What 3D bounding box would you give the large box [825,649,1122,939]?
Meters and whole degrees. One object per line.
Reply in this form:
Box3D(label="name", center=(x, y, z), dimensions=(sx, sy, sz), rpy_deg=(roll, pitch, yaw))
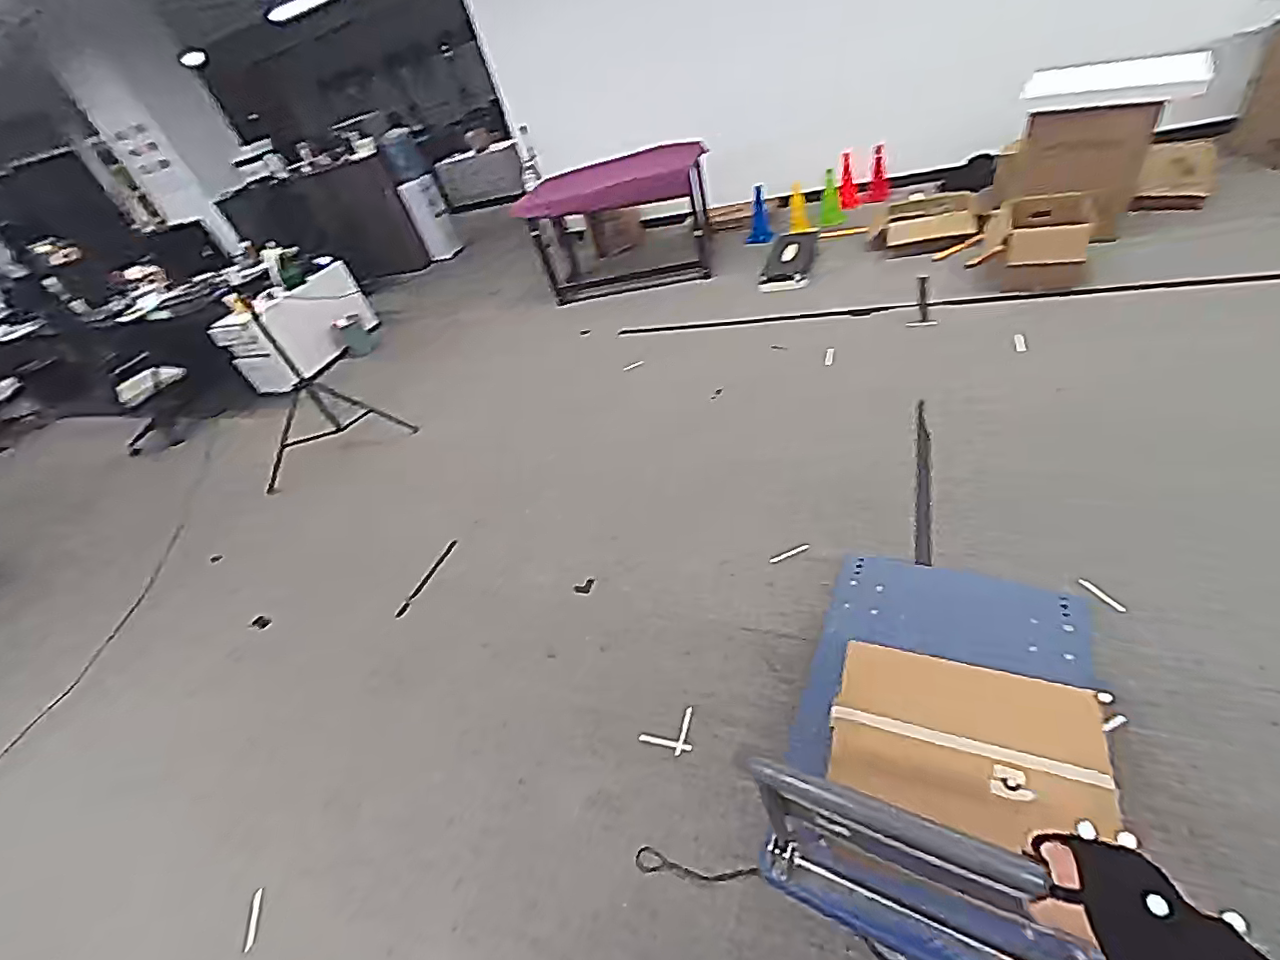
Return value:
Box3D(label="large box", center=(0.577, 0.572, 1.020), dimensions=(0.408, 0.320, 0.320), rpy_deg=(6, 46, 26))
